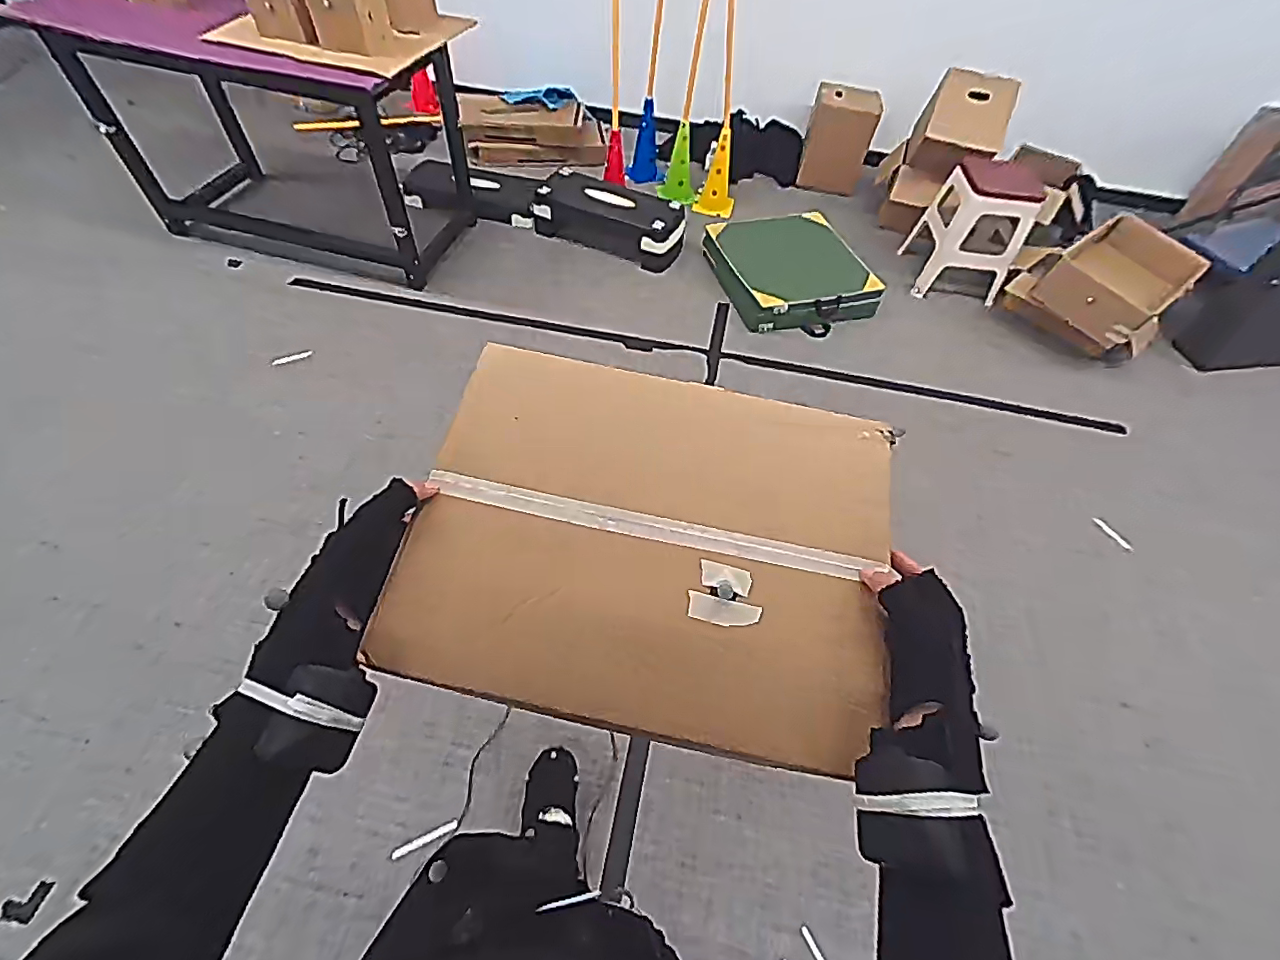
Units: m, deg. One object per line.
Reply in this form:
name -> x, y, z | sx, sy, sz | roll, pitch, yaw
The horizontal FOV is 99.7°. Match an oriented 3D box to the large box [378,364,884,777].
large box -> 0.006, 0.116, 0.610 | 0.408, 0.320, 0.320 | 12, 65, 2
